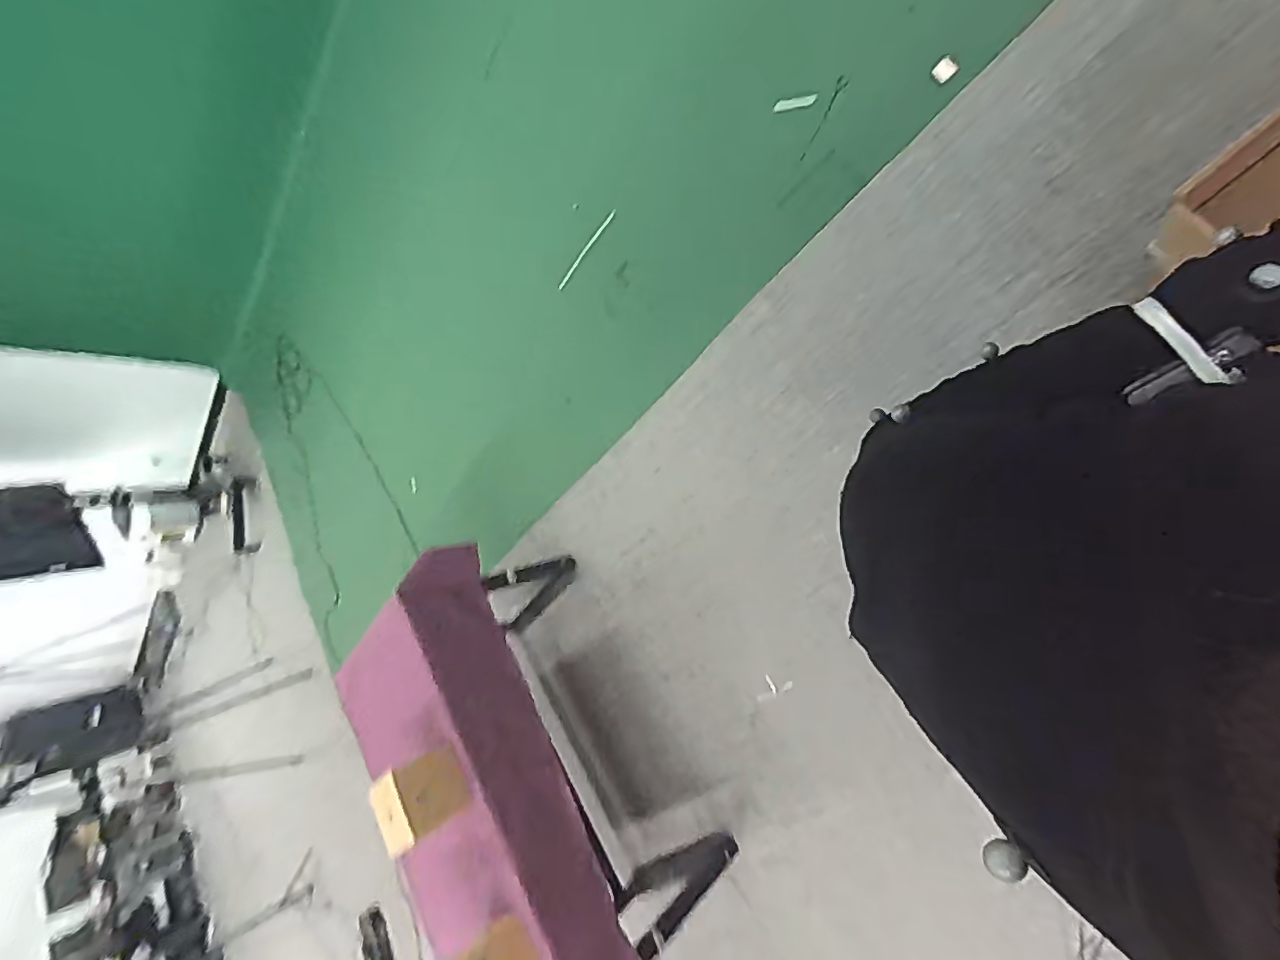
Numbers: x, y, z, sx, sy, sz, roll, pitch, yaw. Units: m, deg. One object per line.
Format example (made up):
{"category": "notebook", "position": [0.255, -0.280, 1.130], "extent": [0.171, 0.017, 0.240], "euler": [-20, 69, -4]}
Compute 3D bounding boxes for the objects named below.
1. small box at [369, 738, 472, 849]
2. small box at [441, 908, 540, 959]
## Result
{"category": "small box", "position": [-0.571, 0.815, 1.416], "extent": [0.168, 0.176, 0.179], "euler": [-43, 68, 32]}
{"category": "small box", "position": [-0.348, 1.167, 1.274], "extent": [0.168, 0.176, 0.179], "euler": [-46, 66, 32]}
